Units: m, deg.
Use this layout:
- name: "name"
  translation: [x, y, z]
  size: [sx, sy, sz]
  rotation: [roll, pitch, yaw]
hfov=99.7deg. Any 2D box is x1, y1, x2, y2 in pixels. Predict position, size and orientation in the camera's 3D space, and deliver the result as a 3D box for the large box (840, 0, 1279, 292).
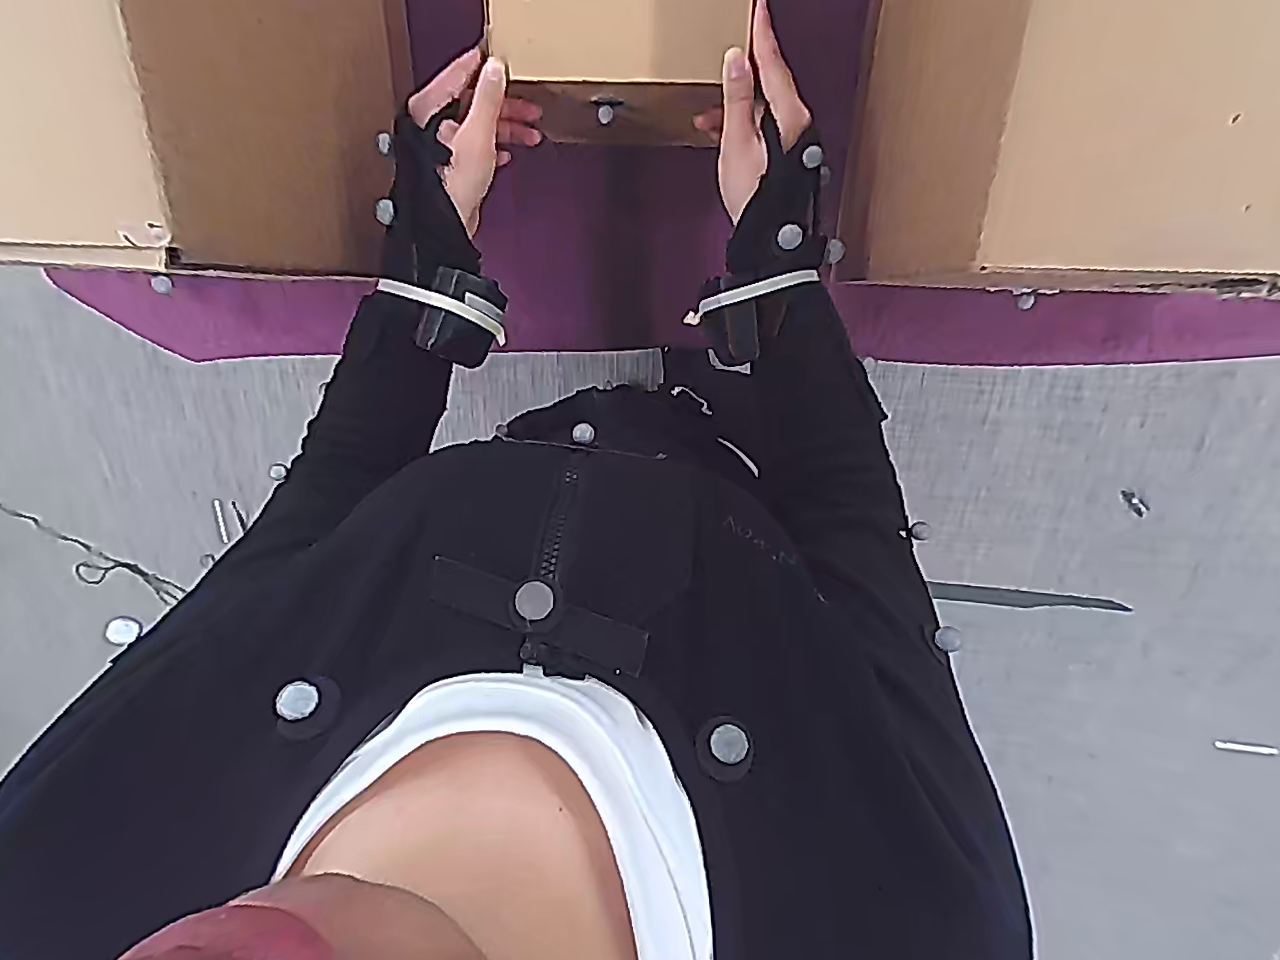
- name: "large box"
  translation: [0.322, -0.324, 0.305]
  size: [0.320, 0.320, 0.408]
  rotation: [3, 108, 5]
